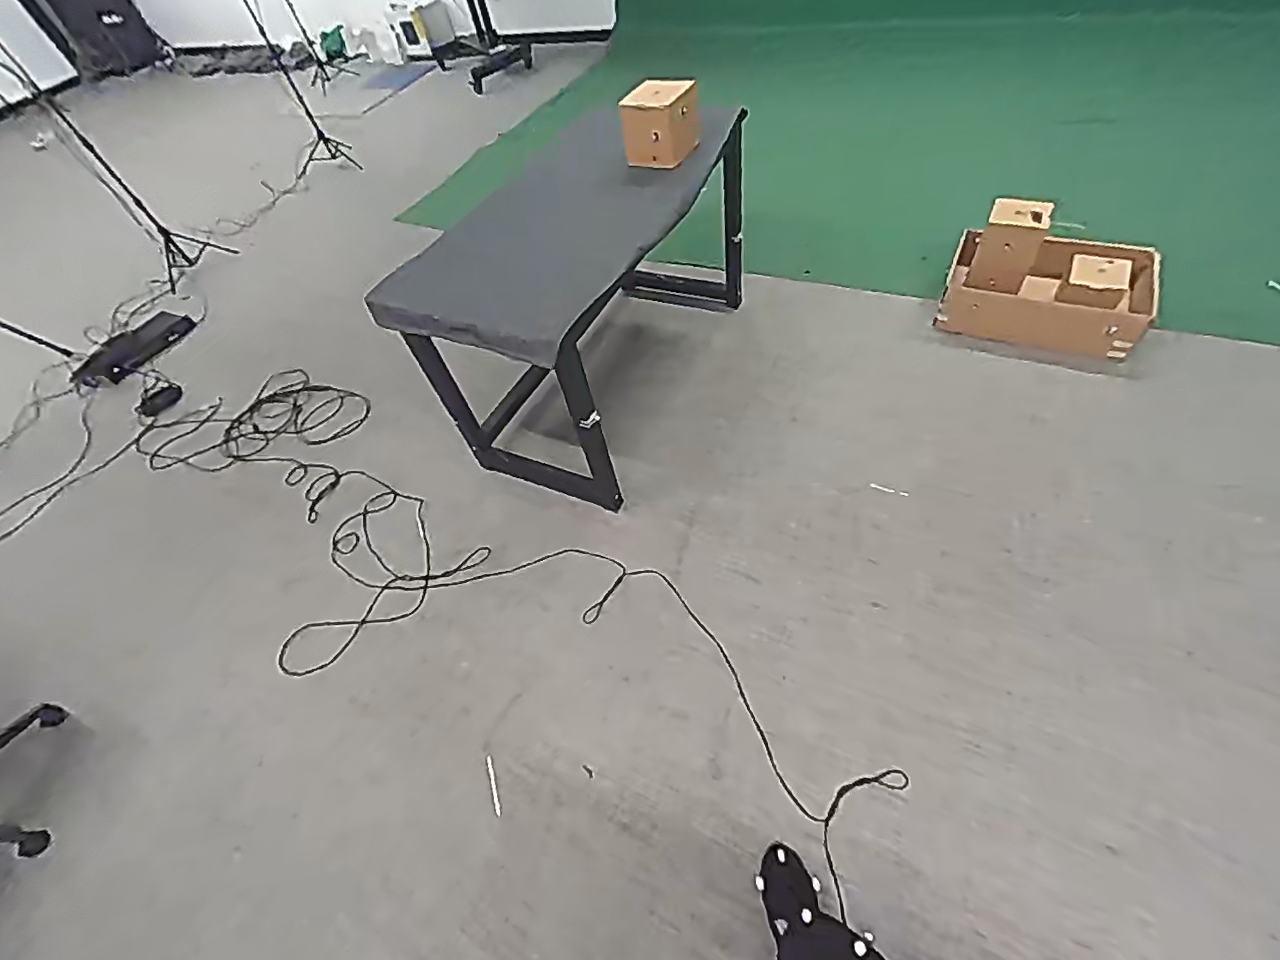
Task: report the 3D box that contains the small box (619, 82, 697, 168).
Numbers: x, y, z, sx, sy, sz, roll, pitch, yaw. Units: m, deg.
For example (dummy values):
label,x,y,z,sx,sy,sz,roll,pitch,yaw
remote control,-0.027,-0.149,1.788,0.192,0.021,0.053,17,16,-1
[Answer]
label,x,y,z,sx,sy,sz,roll,pitch,yaw
small box,0.063,-1.050,1.602,0.168,0.176,0.179,21,59,24

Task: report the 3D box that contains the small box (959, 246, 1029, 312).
label,x,y,z,sx,sy,sz,roll,pitch,yaw
small box,1.311,-0.748,2.003,0.179,0.176,0.168,19,60,21

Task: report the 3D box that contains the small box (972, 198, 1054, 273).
label,x,y,z,sx,sy,sz,roll,pitch,yaw
small box,1.287,-0.842,1.870,0.179,0.176,0.168,20,59,23

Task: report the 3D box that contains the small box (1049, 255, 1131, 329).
label,x,y,z,sx,sy,sz,roll,pitch,yaw
small box,1.567,-0.653,1.889,0.168,0.176,0.179,20,61,24
